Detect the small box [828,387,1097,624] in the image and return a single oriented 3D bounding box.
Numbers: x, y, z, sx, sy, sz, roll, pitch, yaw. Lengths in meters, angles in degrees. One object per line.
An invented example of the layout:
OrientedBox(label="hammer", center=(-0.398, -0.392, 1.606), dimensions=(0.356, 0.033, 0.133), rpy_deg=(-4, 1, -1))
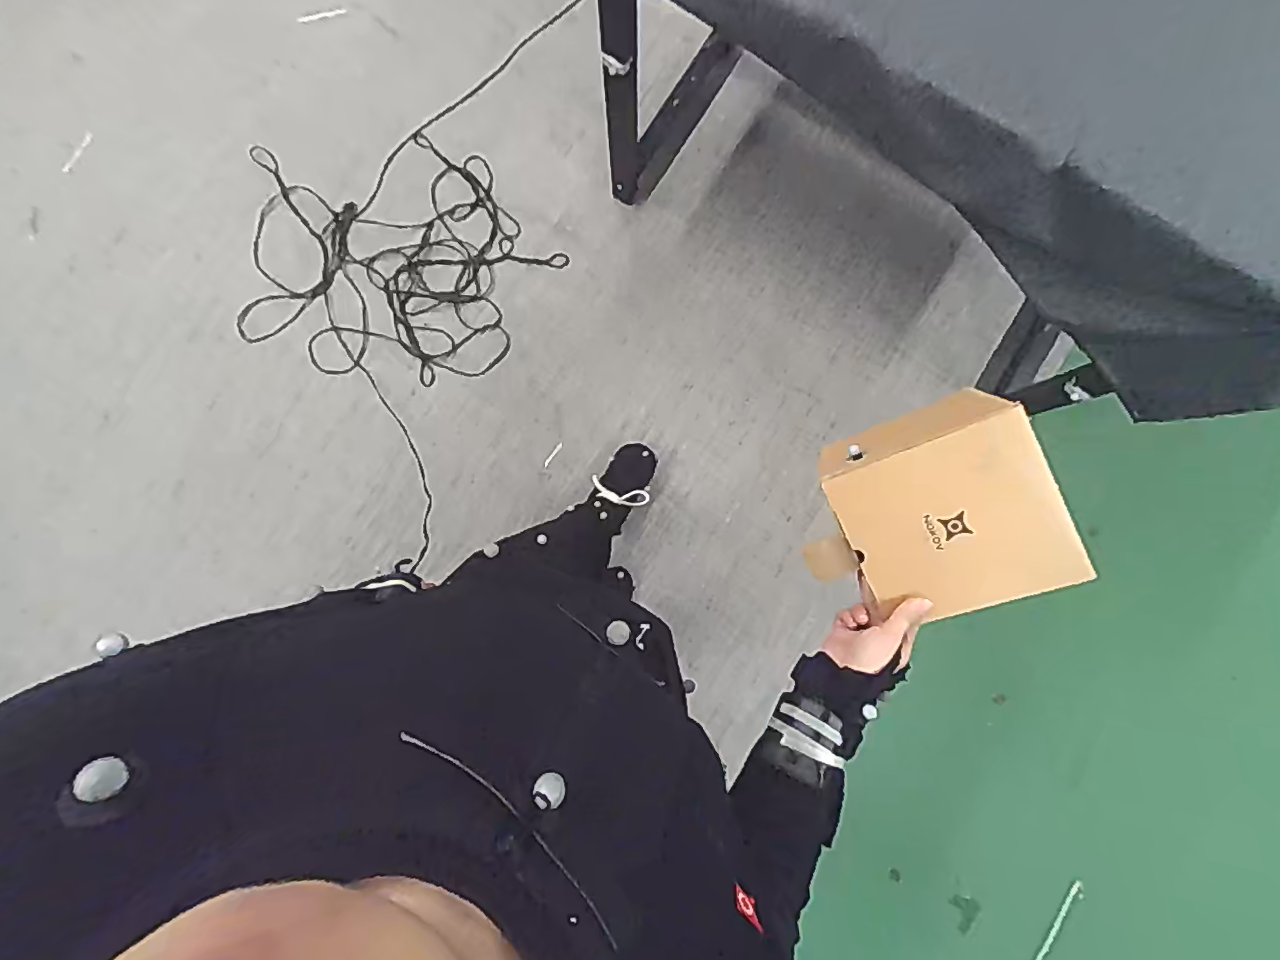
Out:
OrientedBox(label="small box", center=(0.308, 0.016, 0.557), dimensions=(0.179, 0.176, 0.168), rpy_deg=(-24, 96, 24))
